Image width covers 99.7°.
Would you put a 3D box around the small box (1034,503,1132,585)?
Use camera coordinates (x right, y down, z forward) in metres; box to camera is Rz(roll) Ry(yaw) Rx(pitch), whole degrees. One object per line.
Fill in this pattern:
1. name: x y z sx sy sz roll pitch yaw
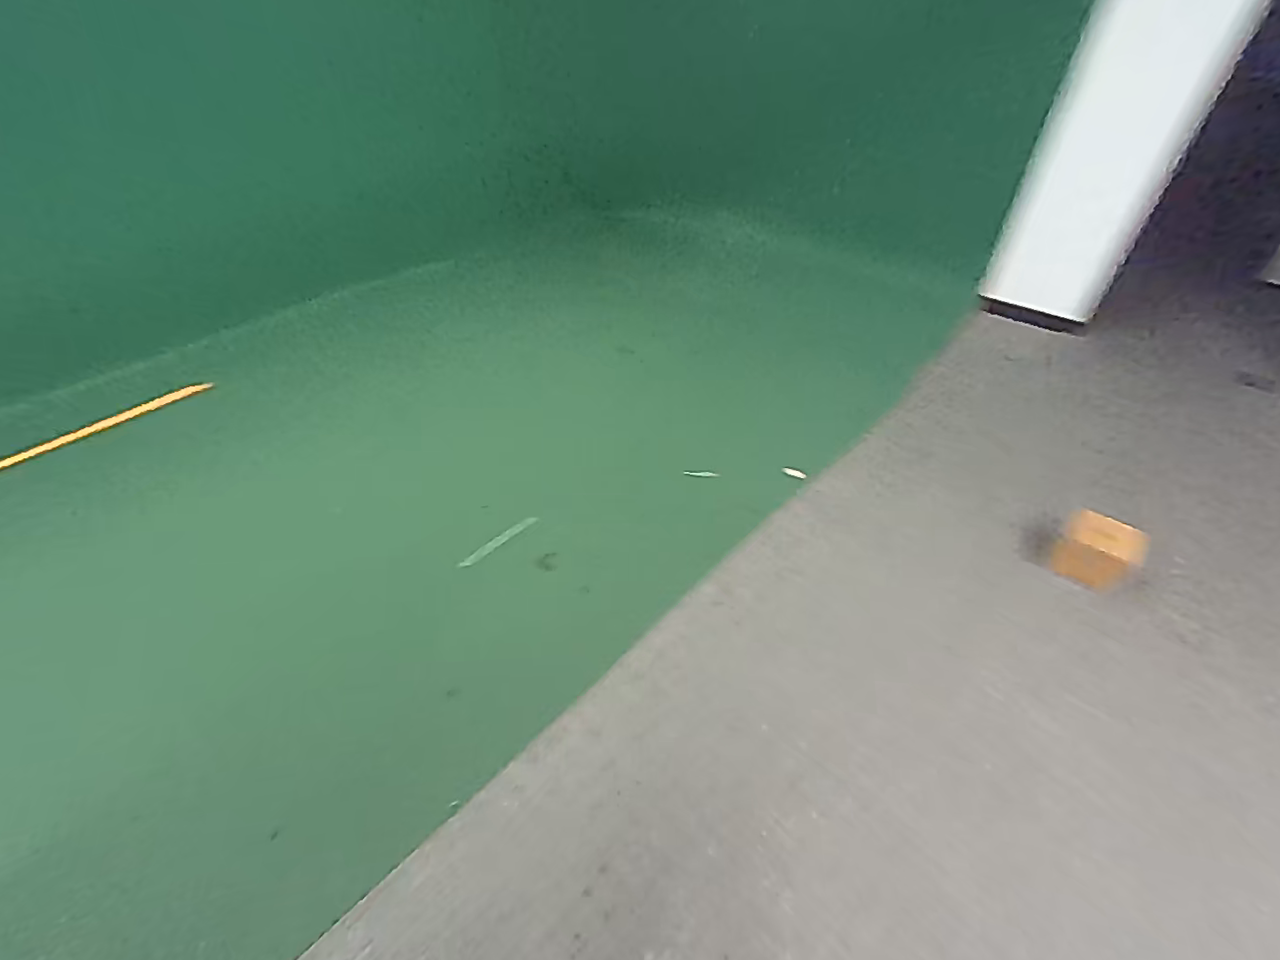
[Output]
1. small box: 1.430 0.214 1.753 0.179 0.176 0.168 30 54 29
